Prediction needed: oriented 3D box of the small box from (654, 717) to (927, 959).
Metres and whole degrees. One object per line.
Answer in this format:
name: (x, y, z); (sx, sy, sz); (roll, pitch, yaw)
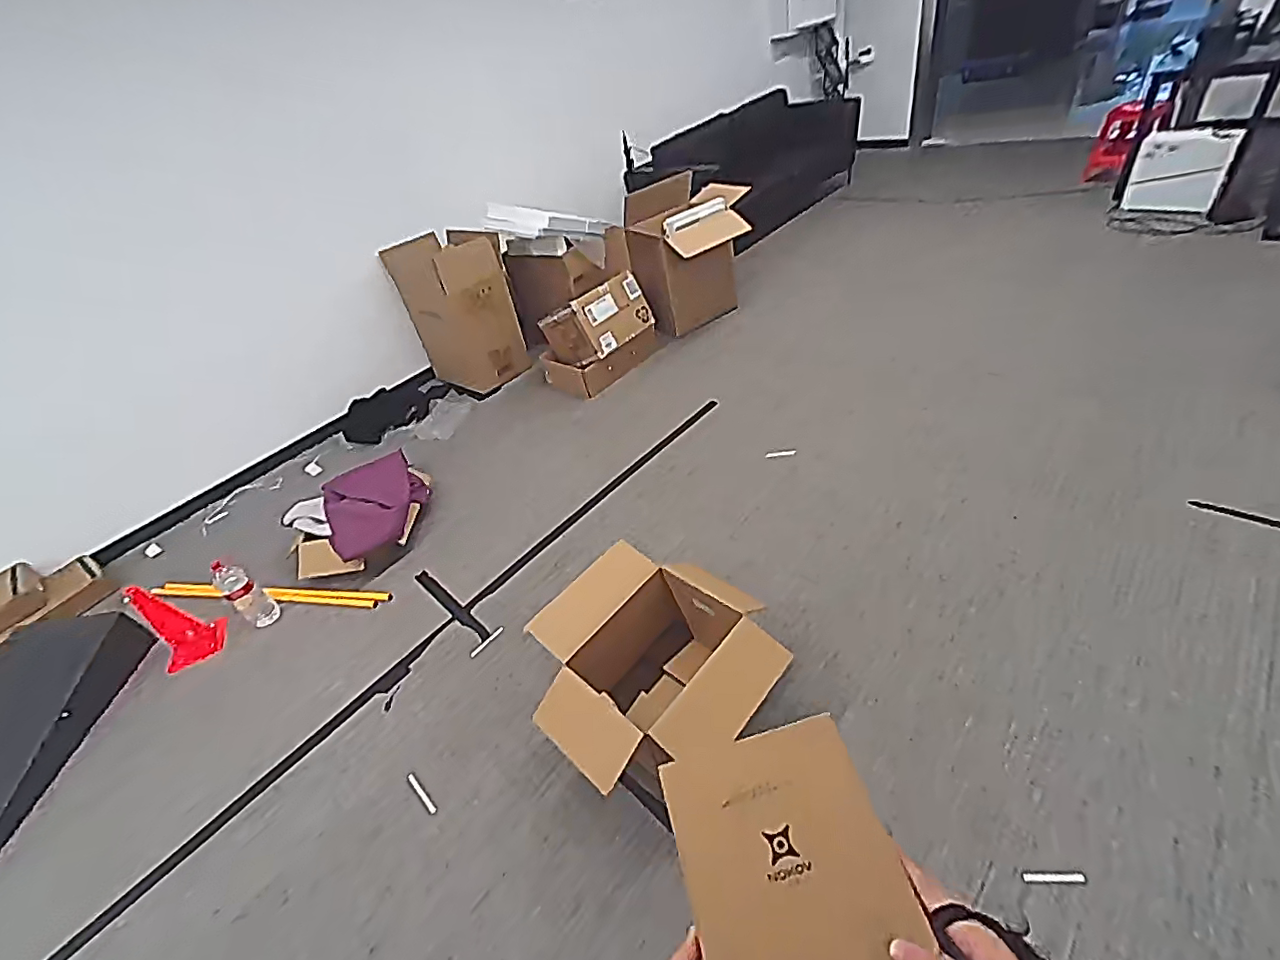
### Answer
small box: (0.123, 0.352, 0.495); (0.168, 0.176, 0.179); (-17, 47, -2)
